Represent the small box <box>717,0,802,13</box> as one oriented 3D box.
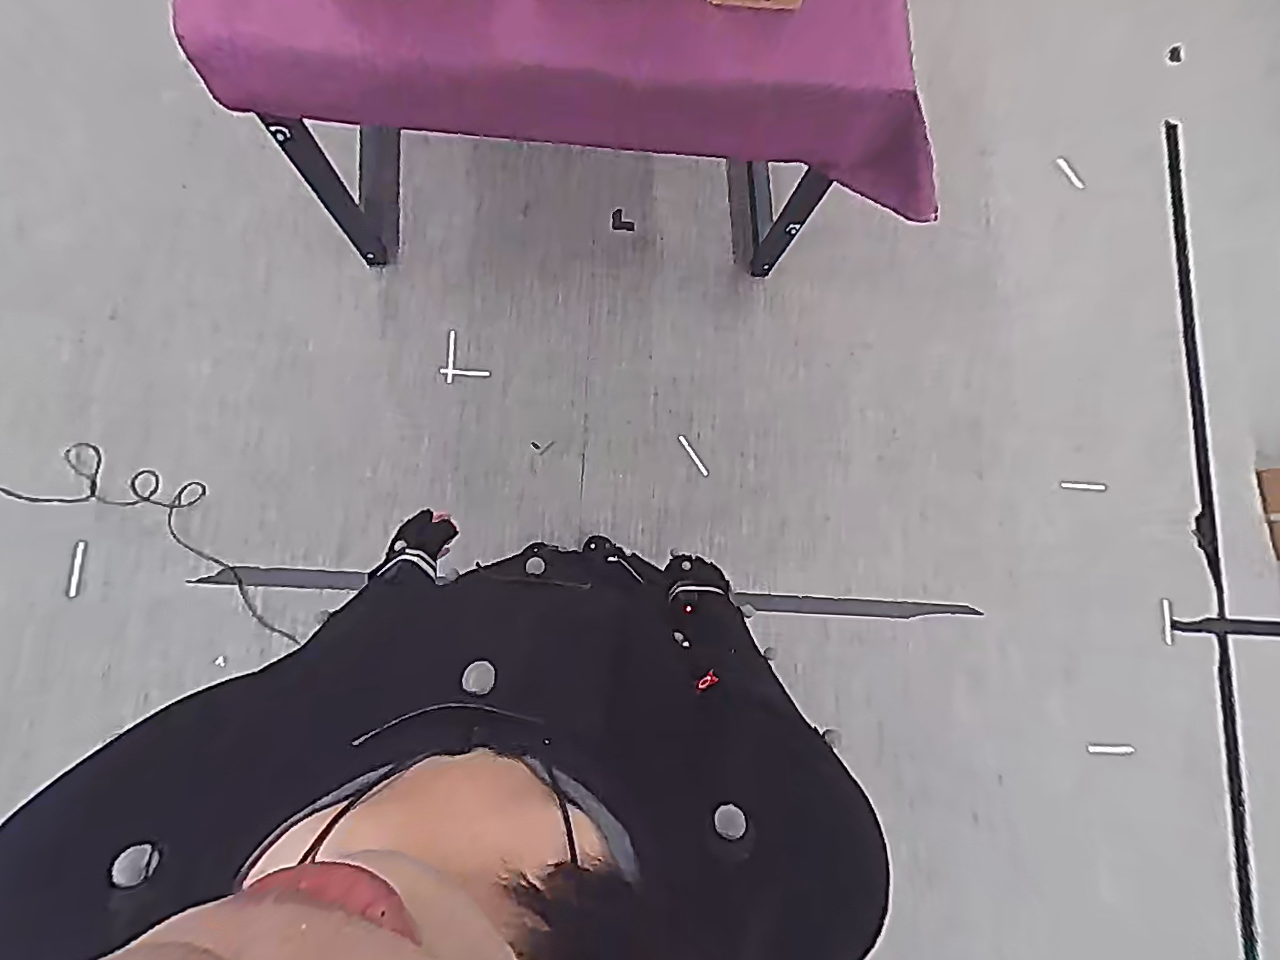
[{"bbox_3d":[0.208,-0.922,0.880,0.168,0.176,0.179,-2,84,-6],"label":"small box"}]
